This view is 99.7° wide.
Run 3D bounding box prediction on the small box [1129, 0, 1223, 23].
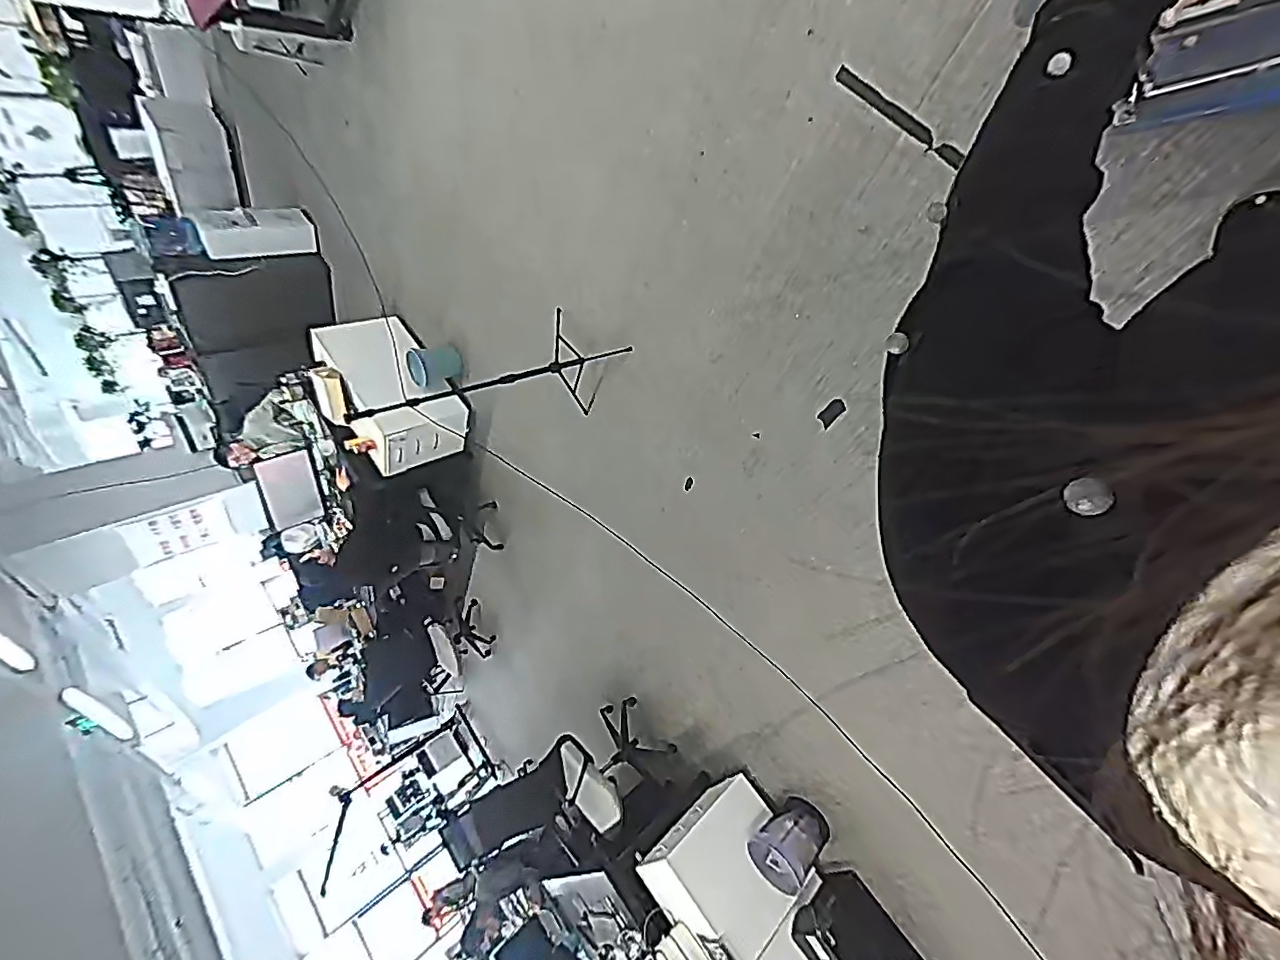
[{"bbox_3d":[0.784,-0.752,0.722,0.168,0.176,0.179,9,118,46],"label":"small box"}]
